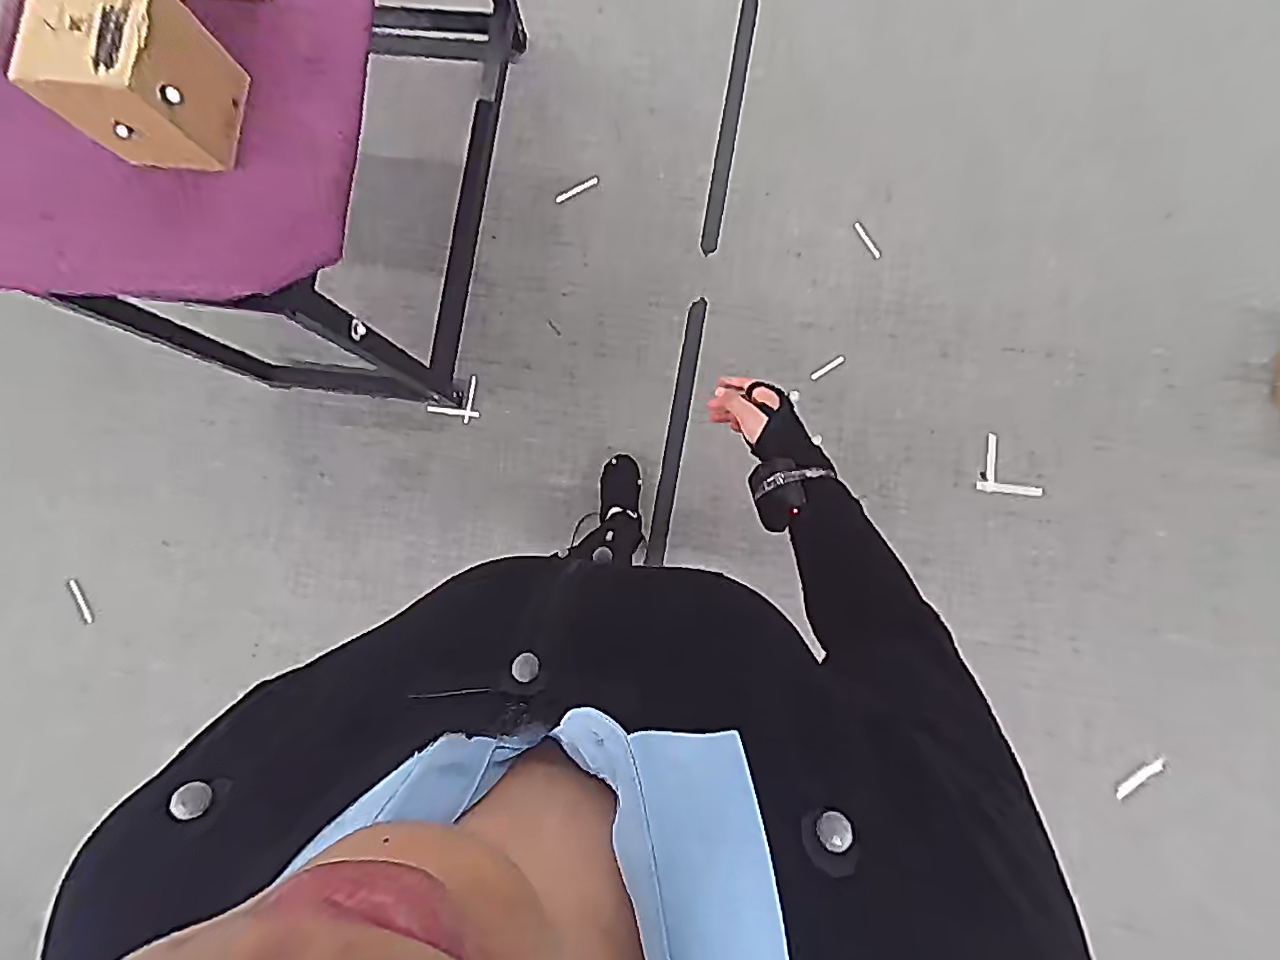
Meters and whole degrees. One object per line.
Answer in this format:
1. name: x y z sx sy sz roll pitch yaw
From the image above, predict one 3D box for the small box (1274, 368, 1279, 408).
1. small box: 1.800 -0.263 1.379 0.179 0.176 0.168 11 85 3
